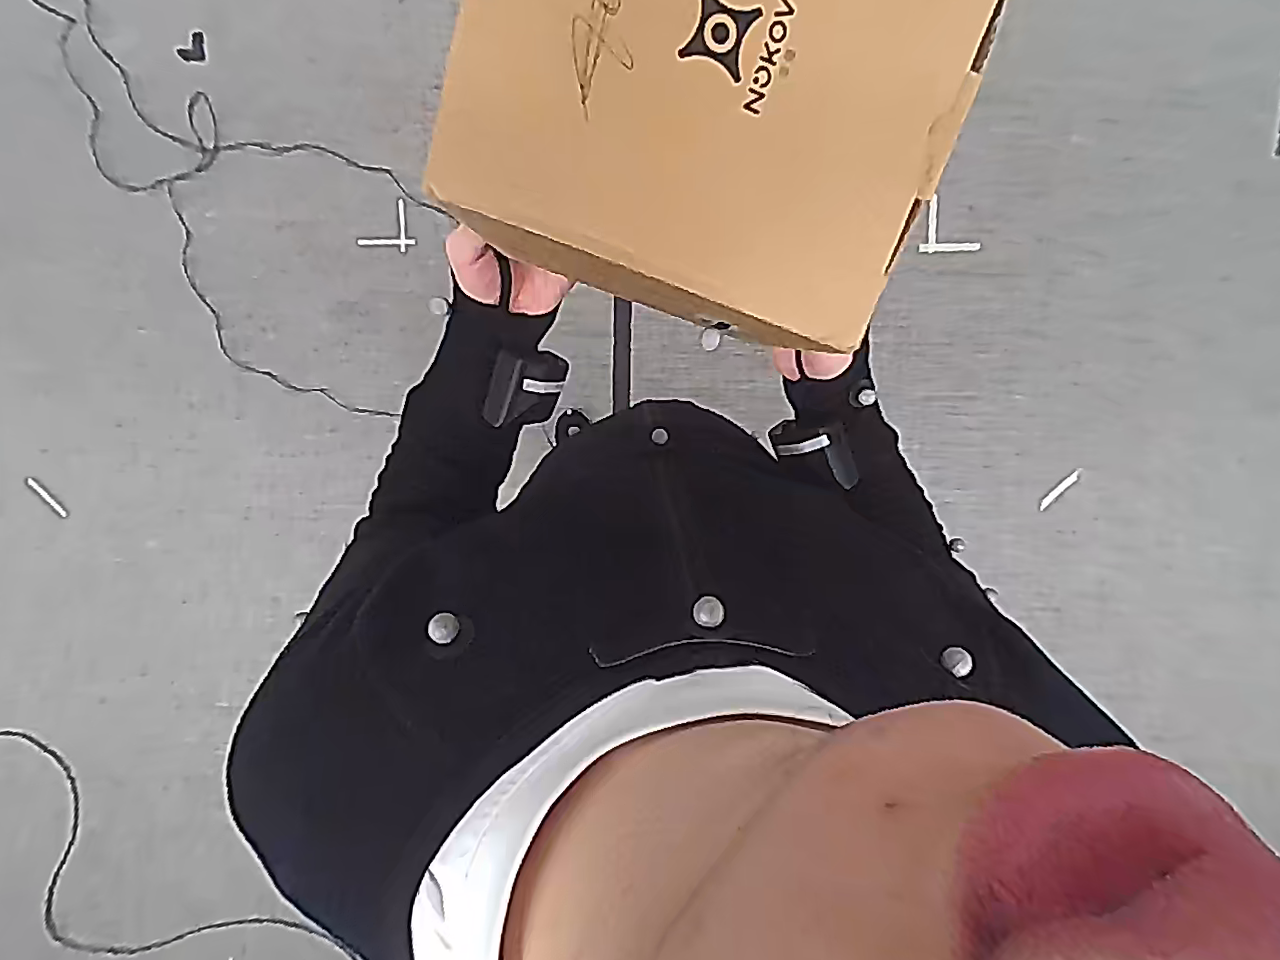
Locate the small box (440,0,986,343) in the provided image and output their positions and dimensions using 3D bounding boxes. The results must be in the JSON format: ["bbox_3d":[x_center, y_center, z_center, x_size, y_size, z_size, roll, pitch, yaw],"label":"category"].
[{"bbox_3d":[0.024,-0.178,0.275,0.179,0.176,0.168,16,103,-9],"label":"small box"}]
